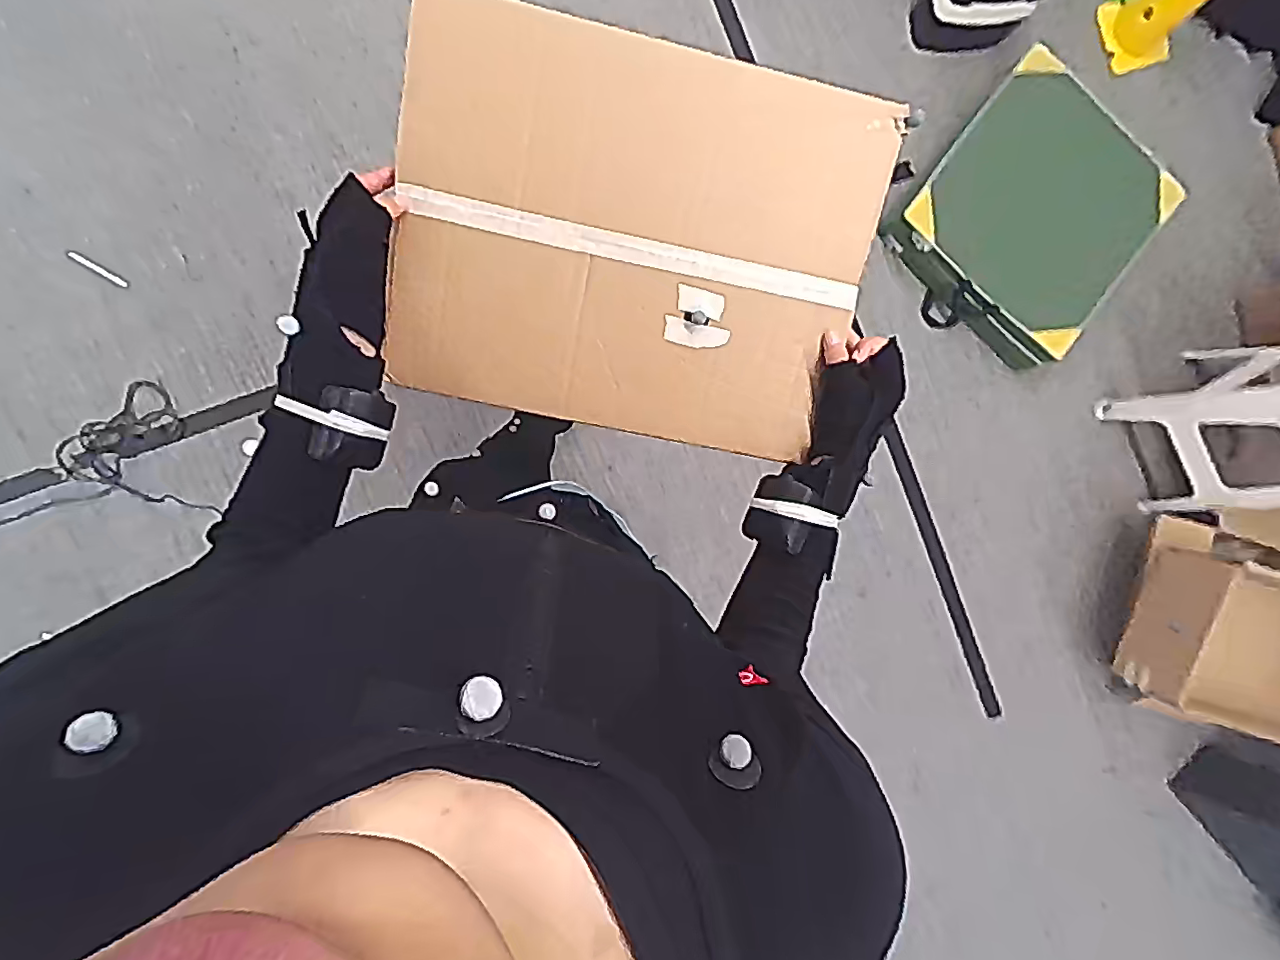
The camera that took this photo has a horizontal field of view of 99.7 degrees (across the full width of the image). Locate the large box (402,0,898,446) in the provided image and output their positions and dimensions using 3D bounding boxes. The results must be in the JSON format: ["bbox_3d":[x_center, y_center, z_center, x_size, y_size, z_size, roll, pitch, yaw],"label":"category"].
[{"bbox_3d":[-0.008,-0.248,0.625,0.408,0.320,0.320,11,105,-6],"label":"large box"}]
